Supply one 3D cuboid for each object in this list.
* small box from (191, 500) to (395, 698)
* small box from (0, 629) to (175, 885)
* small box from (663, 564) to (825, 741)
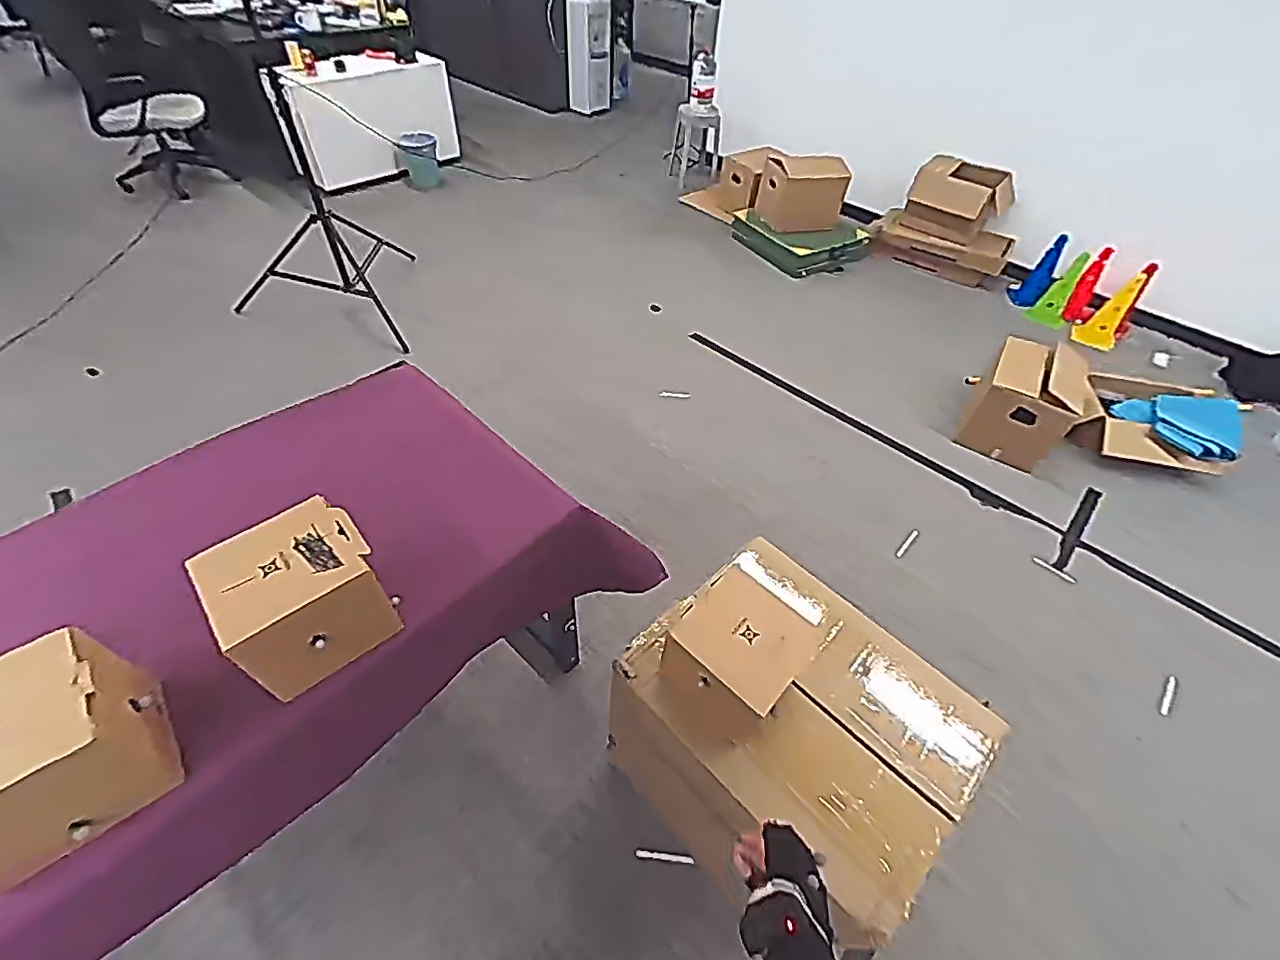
[{"bbox_3d":[-0.470,0.167,0.761,0.179,0.176,0.168,-33,57,-28],"label":"small box"},{"bbox_3d":[-0.676,0.312,0.614,0.179,0.176,0.168,-31,56,-28],"label":"small box"},{"bbox_3d":[0.152,0.275,0.853,0.179,0.176,0.168,37,58,24],"label":"small box"}]
